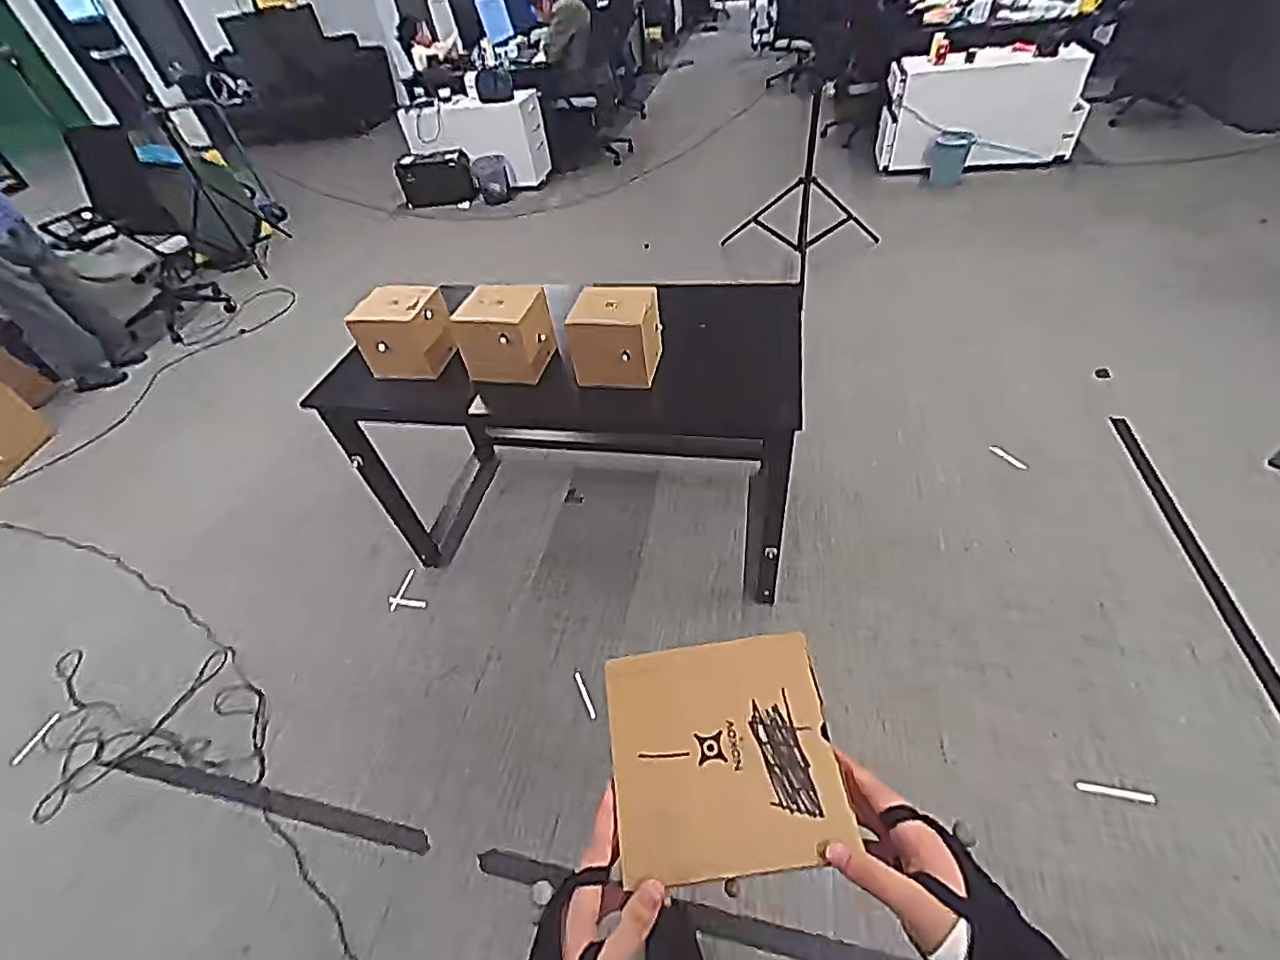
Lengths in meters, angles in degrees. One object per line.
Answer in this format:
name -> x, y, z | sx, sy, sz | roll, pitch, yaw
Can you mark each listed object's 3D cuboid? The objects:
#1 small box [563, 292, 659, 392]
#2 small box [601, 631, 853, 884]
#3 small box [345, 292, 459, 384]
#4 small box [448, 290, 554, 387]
small box -> -0.058, -0.318, 1.252 | 0.179, 0.176, 0.168 | 3, 46, 13
small box -> 0.066, 0.253, 0.495 | 0.179, 0.176, 0.168 | -9, 56, 2
small box -> -0.591, -0.357, 1.369 | 0.179, 0.176, 0.168 | 2, 47, 11
small box -> -0.325, -0.340, 1.311 | 0.179, 0.176, 0.168 | 5, 47, 13
